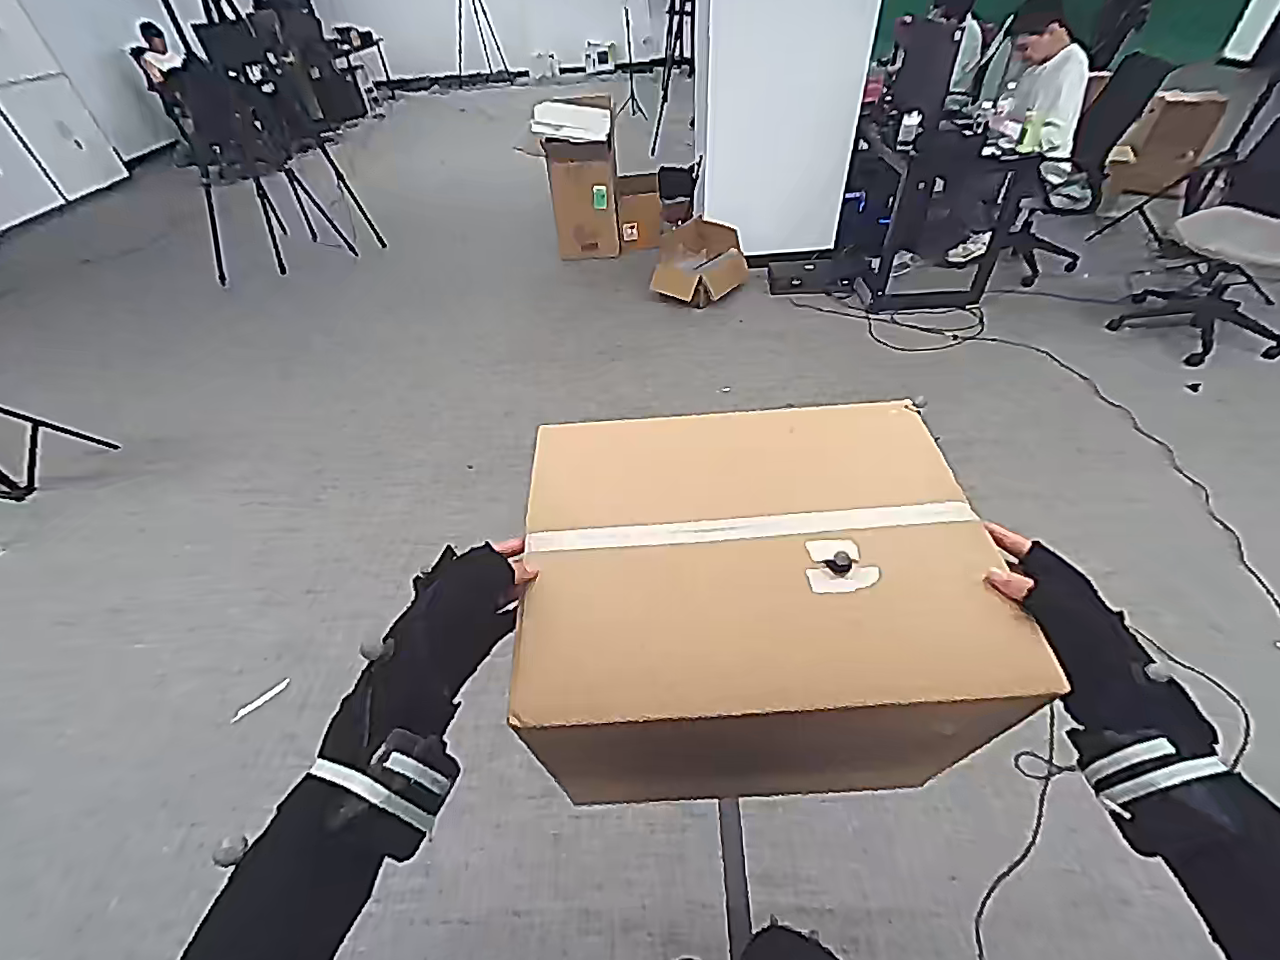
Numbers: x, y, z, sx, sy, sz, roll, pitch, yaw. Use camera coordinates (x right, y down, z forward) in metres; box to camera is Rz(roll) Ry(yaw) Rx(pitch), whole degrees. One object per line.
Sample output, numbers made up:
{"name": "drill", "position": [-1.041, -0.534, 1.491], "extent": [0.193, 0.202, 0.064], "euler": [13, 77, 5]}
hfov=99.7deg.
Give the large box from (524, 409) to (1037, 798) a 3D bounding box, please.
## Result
{"name": "large box", "position": [0.104, 0.147, 0.618], "extent": [0.408, 0.320, 0.320], "euler": [-4, 50, 0]}
